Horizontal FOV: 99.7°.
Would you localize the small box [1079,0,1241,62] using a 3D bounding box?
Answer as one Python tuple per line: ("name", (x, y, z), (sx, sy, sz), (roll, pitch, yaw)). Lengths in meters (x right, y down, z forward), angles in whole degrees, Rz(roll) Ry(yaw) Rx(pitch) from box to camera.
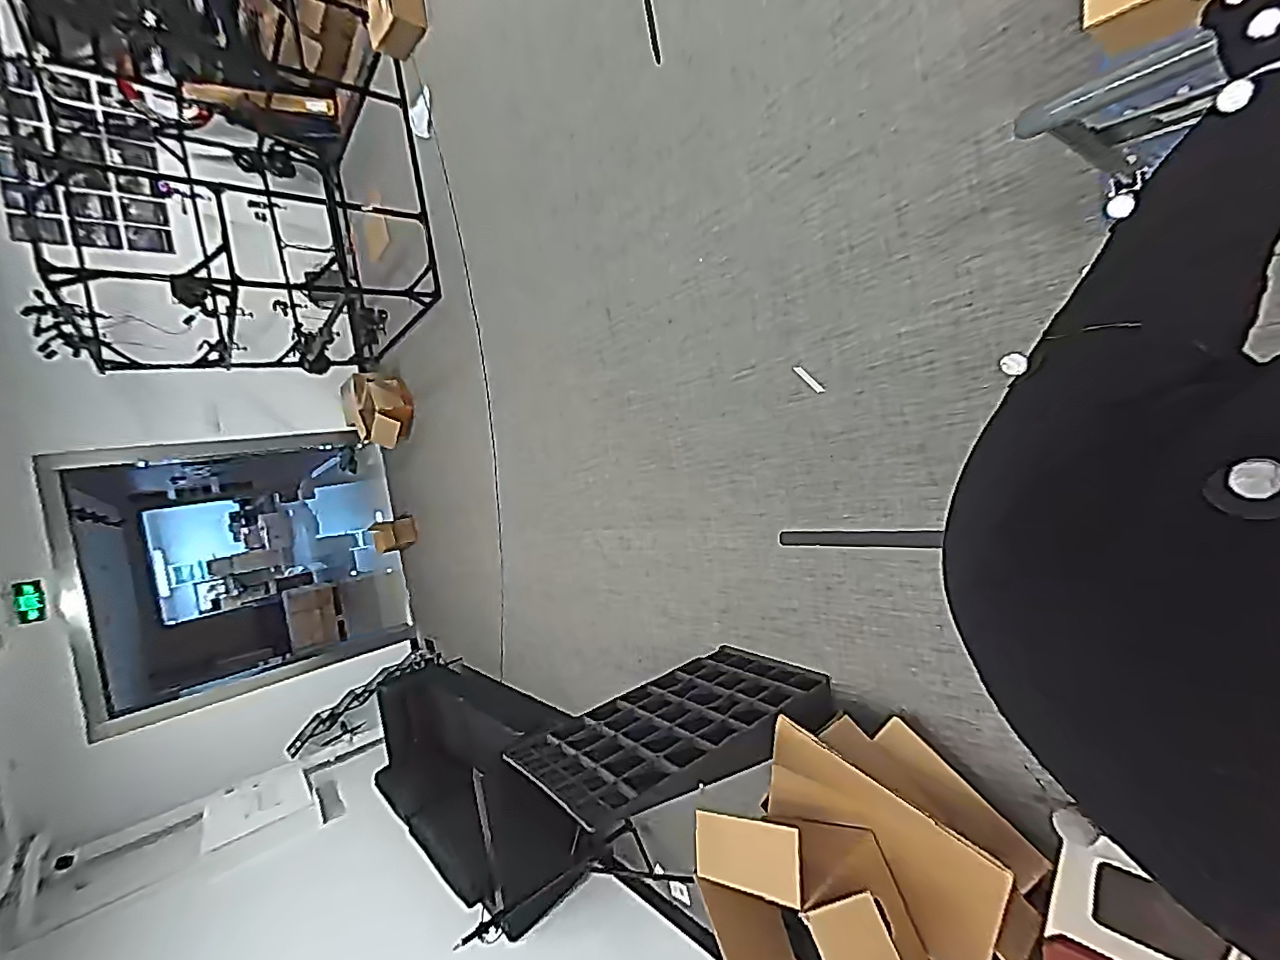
("small box", (0.819, -0.807, 0.846), (0.179, 0.176, 0.168), (4, 101, 49))
